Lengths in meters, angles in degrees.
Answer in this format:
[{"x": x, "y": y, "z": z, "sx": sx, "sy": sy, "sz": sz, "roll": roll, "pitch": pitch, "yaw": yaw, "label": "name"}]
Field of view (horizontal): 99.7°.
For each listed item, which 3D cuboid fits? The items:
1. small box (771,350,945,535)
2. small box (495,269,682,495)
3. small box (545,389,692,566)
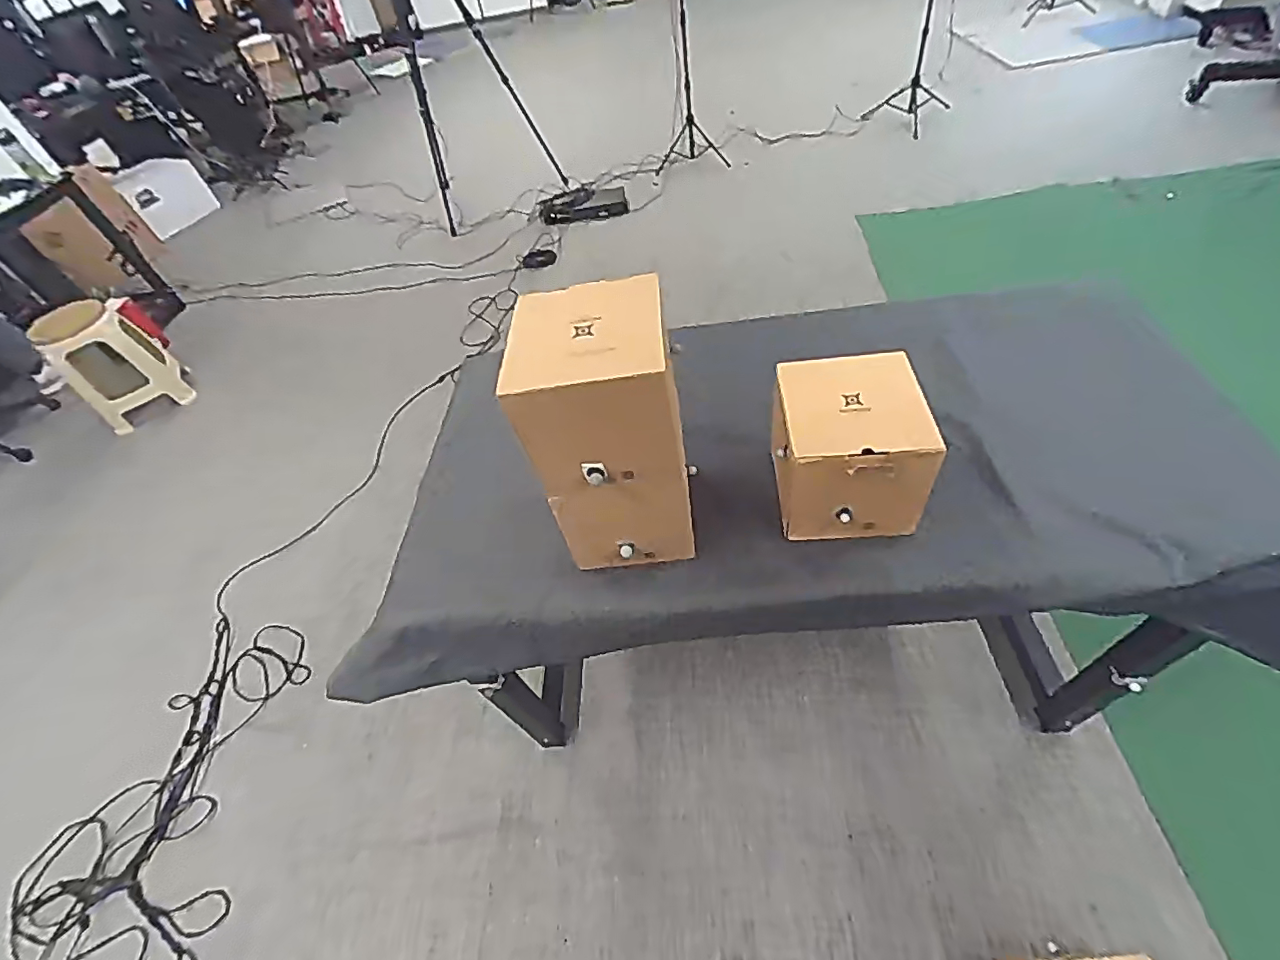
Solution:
[{"x": 0.269, "y": -0.047, "z": 0.716, "sx": 0.168, "sy": 0.176, "sz": 0.179, "roll": -4, "pitch": 51, "yaw": 8, "label": "small box"}, {"x": -0.046, "y": -0.107, "z": 0.612, "sx": 0.168, "sy": 0.176, "sz": 0.179, "roll": -8, "pitch": 51, "yaw": 6, "label": "small box"}, {"x": -0.021, "y": -0.005, "z": 0.736, "sx": 0.168, "sy": 0.176, "sz": 0.179, "roll": -7, "pitch": 50, "yaw": 6, "label": "small box"}]
